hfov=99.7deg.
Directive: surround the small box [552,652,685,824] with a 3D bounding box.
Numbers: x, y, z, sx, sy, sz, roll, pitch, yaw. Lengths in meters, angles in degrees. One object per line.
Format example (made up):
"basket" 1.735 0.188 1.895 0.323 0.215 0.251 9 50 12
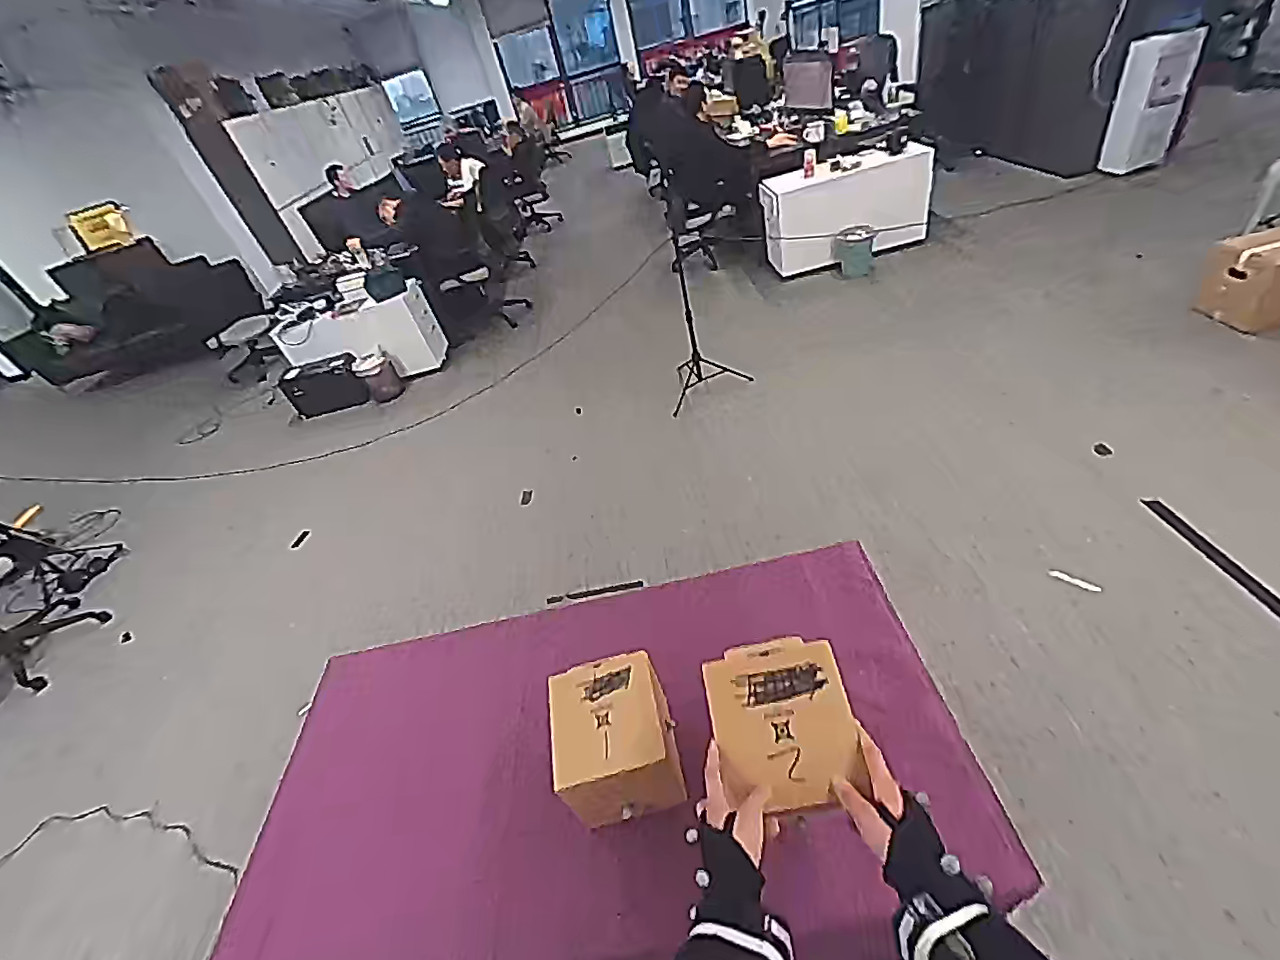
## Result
"small box" -0.035 0.413 0.868 0.168 0.176 0.179 -17 40 1
